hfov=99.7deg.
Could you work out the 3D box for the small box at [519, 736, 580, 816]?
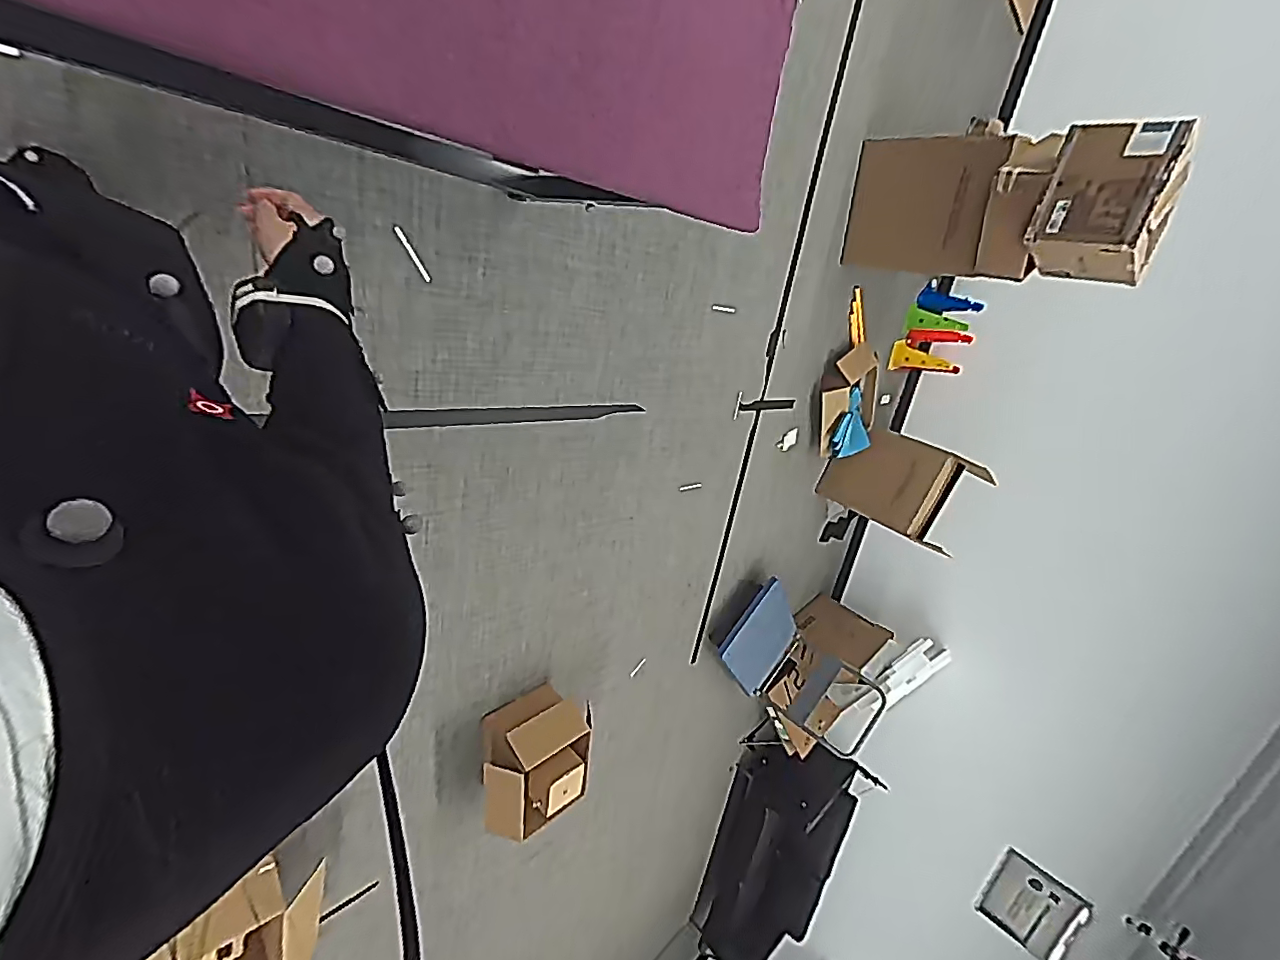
[{"bbox_3d":[-0.358,1.151,2.116,0.168,0.176,0.179,-14,121,-44],"label":"small box"}]
